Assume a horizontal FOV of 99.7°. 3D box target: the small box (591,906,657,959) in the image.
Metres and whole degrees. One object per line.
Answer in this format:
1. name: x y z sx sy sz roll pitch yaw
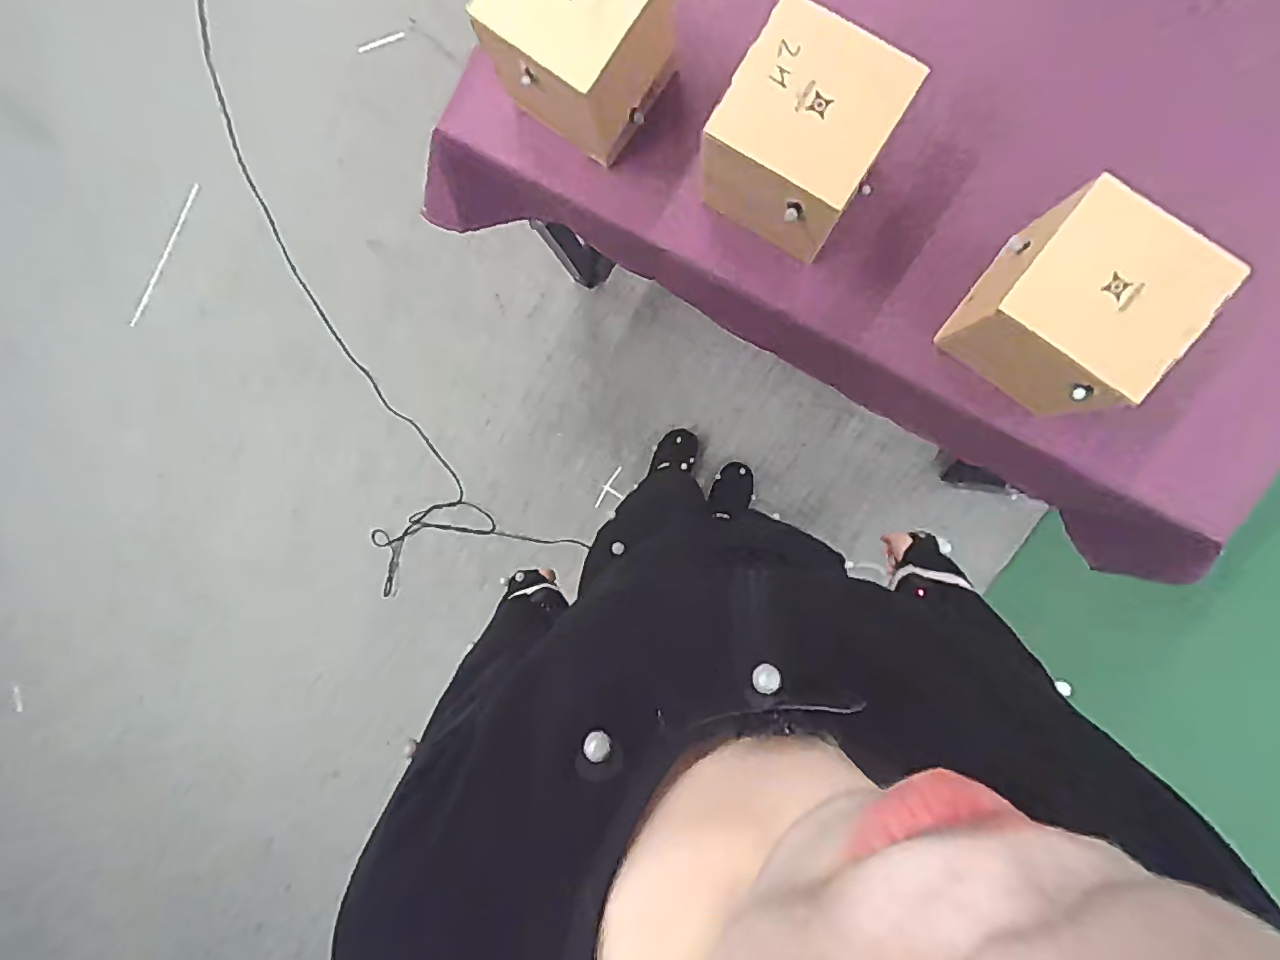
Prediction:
1. small box: -0.051 1.358 1.520 0.168 0.176 0.179 15 95 6

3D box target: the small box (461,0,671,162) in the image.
1. small box: -0.078 -0.544 0.673 0.179 0.176 0.168 37 97 3

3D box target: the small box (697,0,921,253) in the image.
1. small box: 0.185 -0.401 0.649 0.179 0.176 0.168 33 96 4

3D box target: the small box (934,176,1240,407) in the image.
1. small box: 0.488 -0.197 0.627 0.179 0.176 0.168 36 97 3
